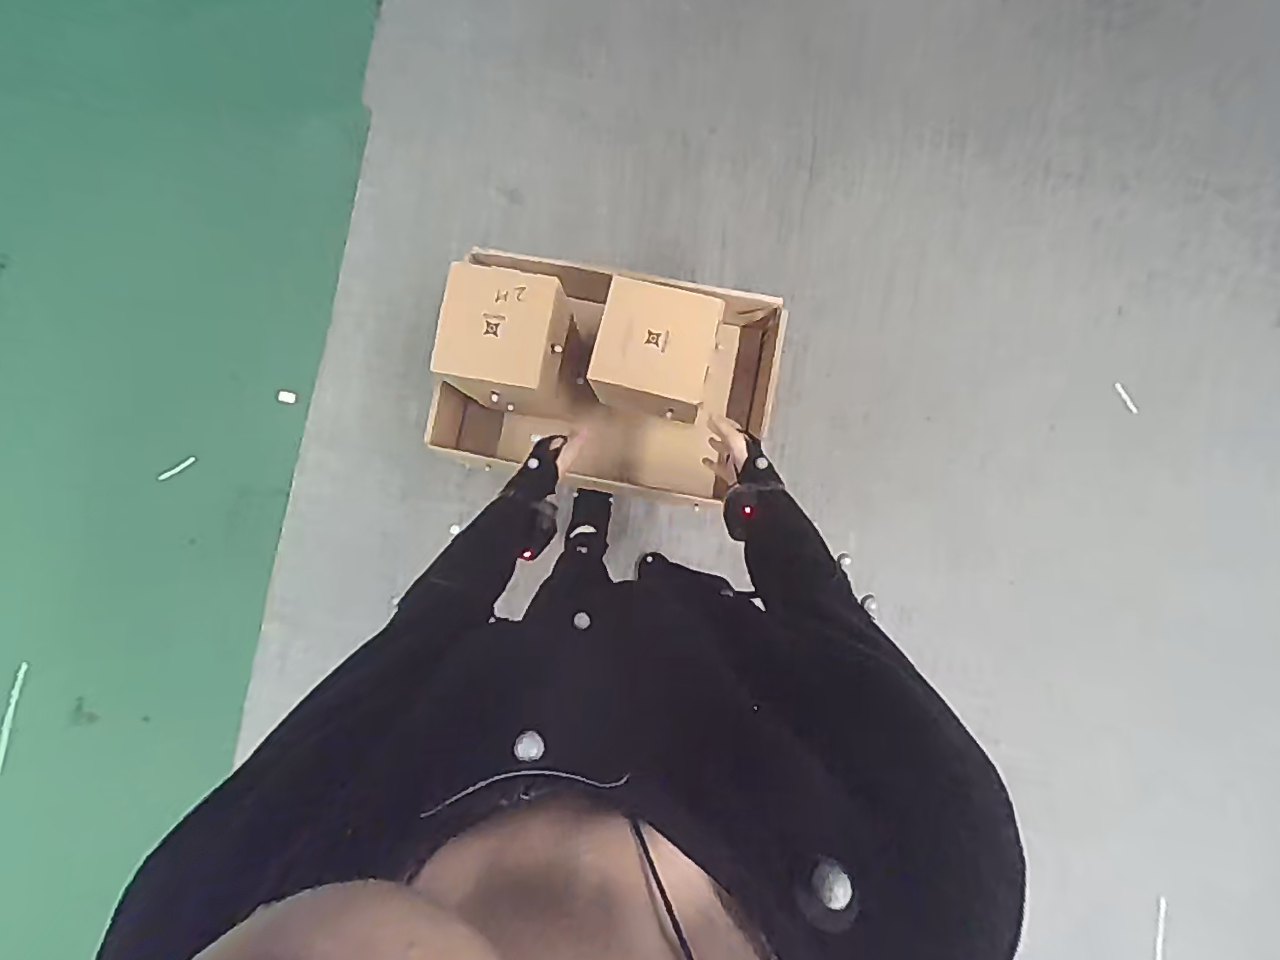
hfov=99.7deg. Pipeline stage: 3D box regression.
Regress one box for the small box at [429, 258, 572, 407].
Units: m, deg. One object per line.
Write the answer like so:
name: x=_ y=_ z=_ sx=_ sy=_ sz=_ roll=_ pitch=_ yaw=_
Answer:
small box: x=-0.214 y=-0.226 z=0.876 sx=0.168 sy=0.176 sz=0.179 roll=10 pitch=86 yaw=3
